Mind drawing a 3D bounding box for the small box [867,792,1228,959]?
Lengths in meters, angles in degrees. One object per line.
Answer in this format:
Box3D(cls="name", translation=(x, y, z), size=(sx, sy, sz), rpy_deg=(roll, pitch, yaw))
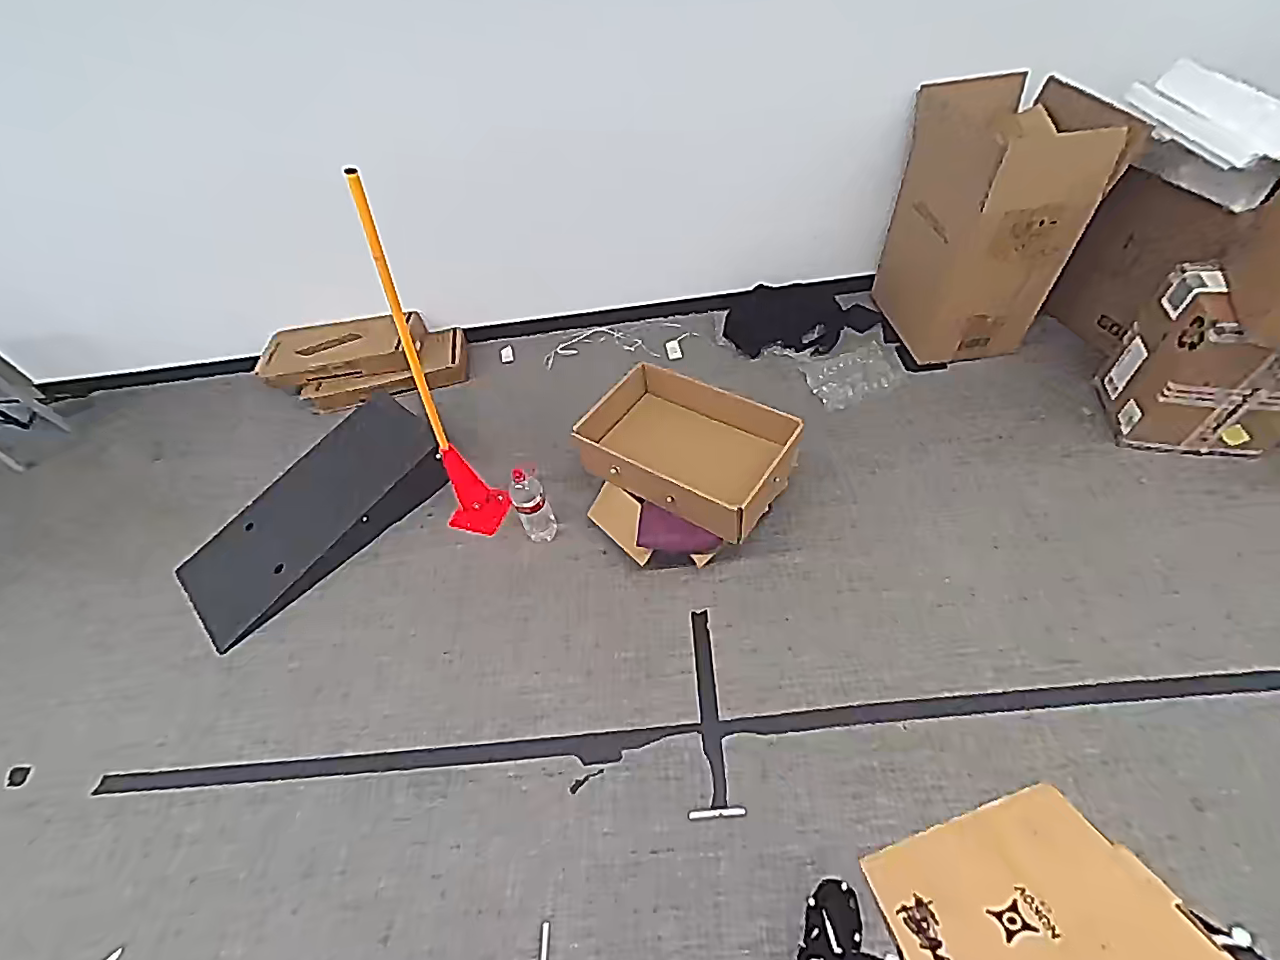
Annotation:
Box3D(cls="small box", translation=(0.307, 0.386, 0.402), size=(0.179, 0.176, 0.168), rpy_deg=(-23, 11, 2))
